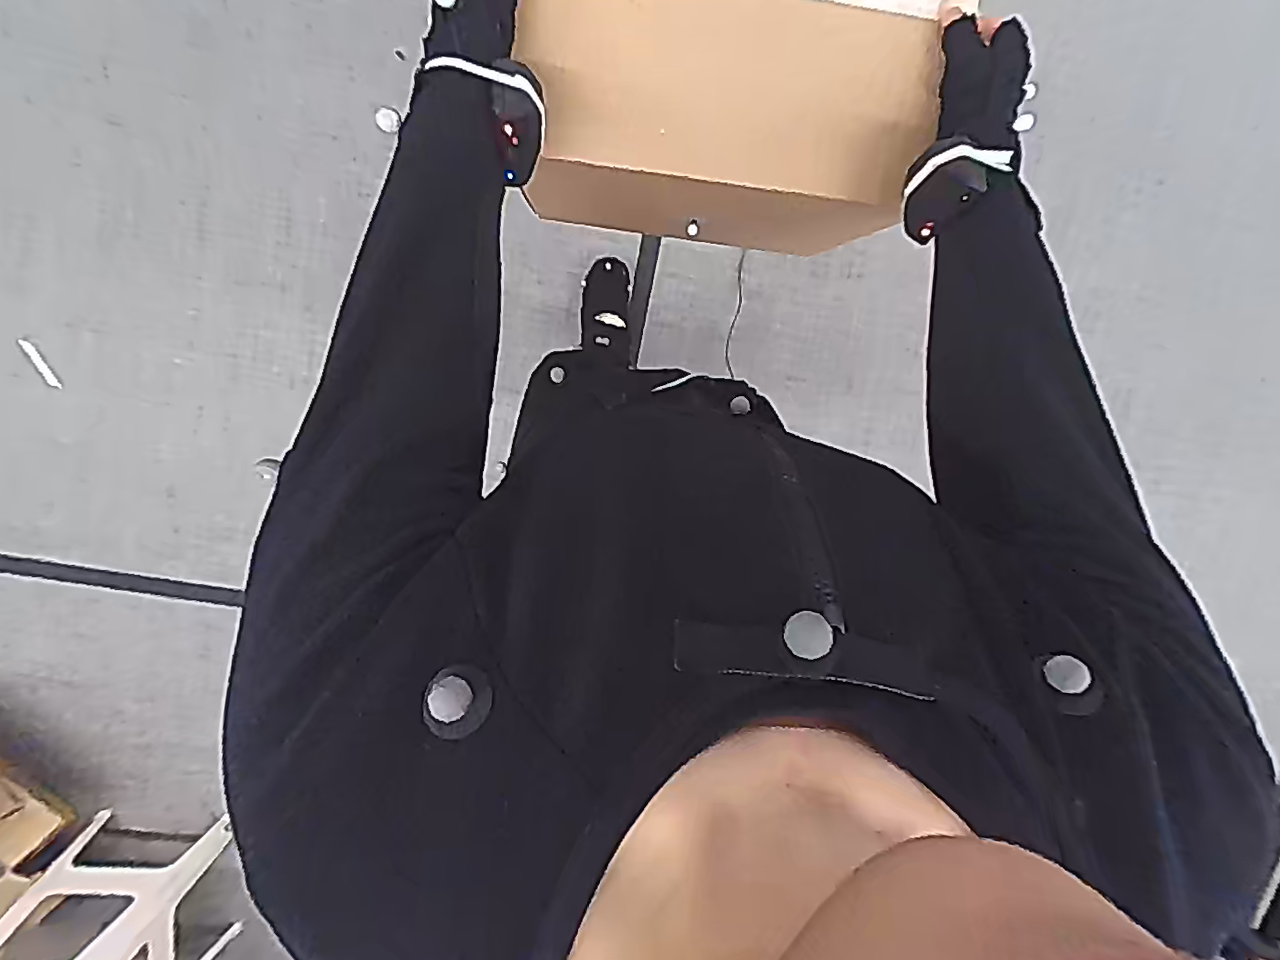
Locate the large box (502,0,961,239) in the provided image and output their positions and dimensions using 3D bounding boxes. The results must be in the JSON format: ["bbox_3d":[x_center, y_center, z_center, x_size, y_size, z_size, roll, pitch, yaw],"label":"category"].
[{"bbox_3d":[0.080,-0.474,0.606,0.408,0.320,0.320,5,104,-5],"label":"large box"}]
